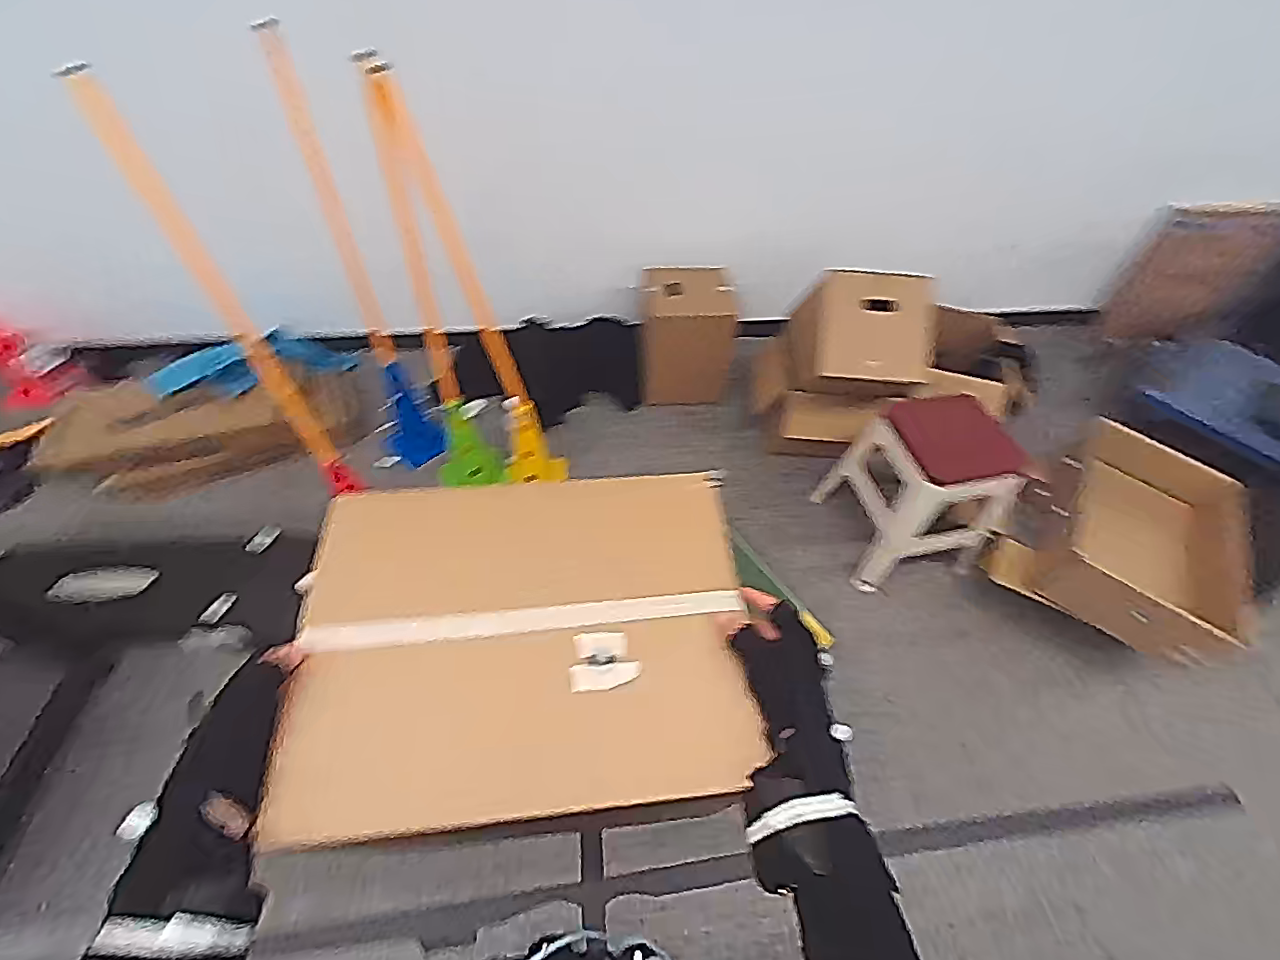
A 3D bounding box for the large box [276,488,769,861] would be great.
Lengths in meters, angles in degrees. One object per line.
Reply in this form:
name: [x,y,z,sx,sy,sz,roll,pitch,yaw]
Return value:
large box: [-0.112,0.234,0.640,0.408,0.320,0.320,-4,55,-6]
